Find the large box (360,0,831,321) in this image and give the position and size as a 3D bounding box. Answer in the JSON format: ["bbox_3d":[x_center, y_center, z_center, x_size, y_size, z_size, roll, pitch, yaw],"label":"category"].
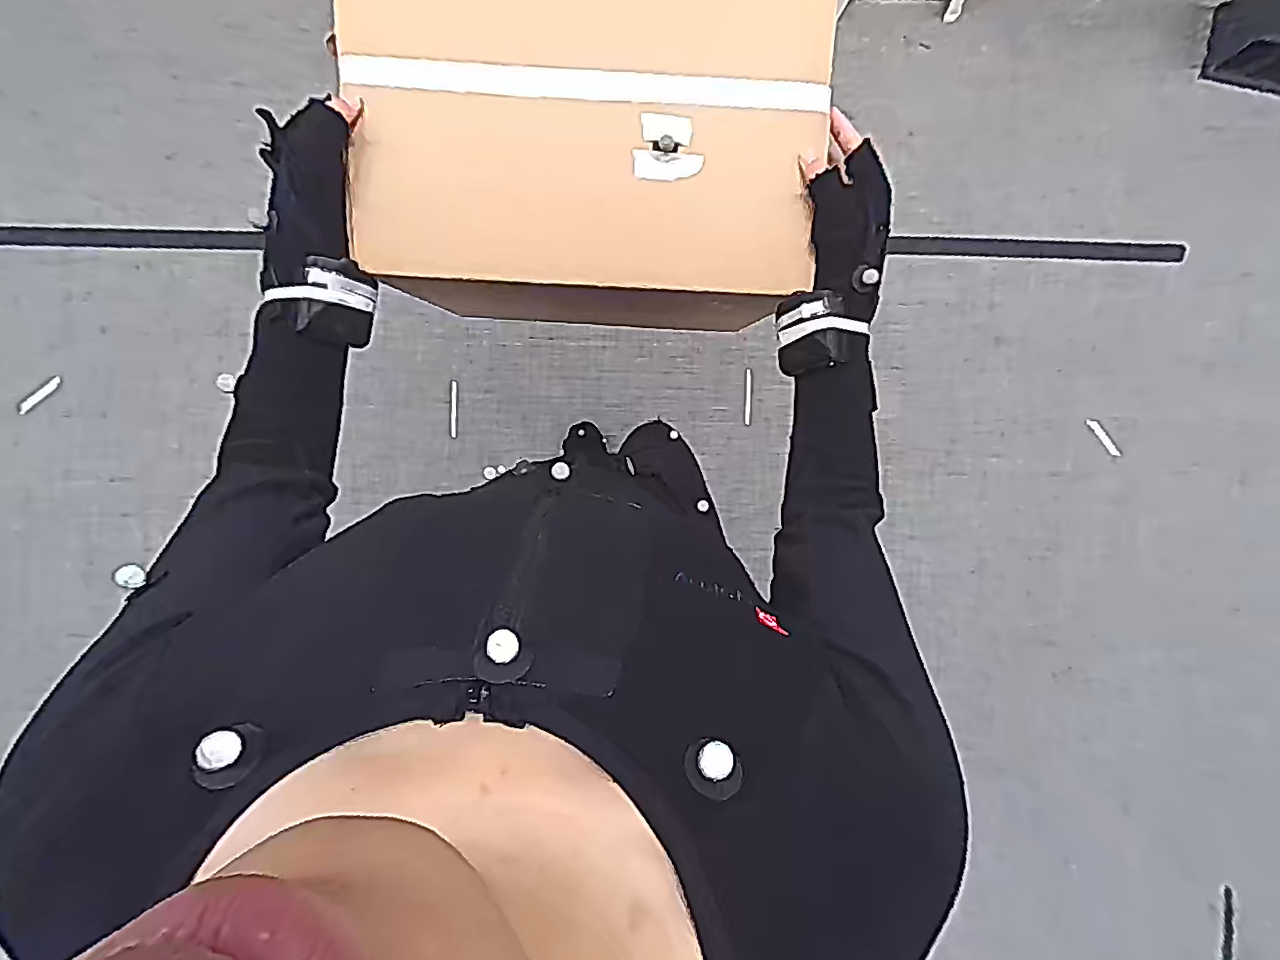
[{"bbox_3d":[-0.045,-0.361,0.612,0.408,0.320,0.320,2,101,-3],"label":"large box"}]
